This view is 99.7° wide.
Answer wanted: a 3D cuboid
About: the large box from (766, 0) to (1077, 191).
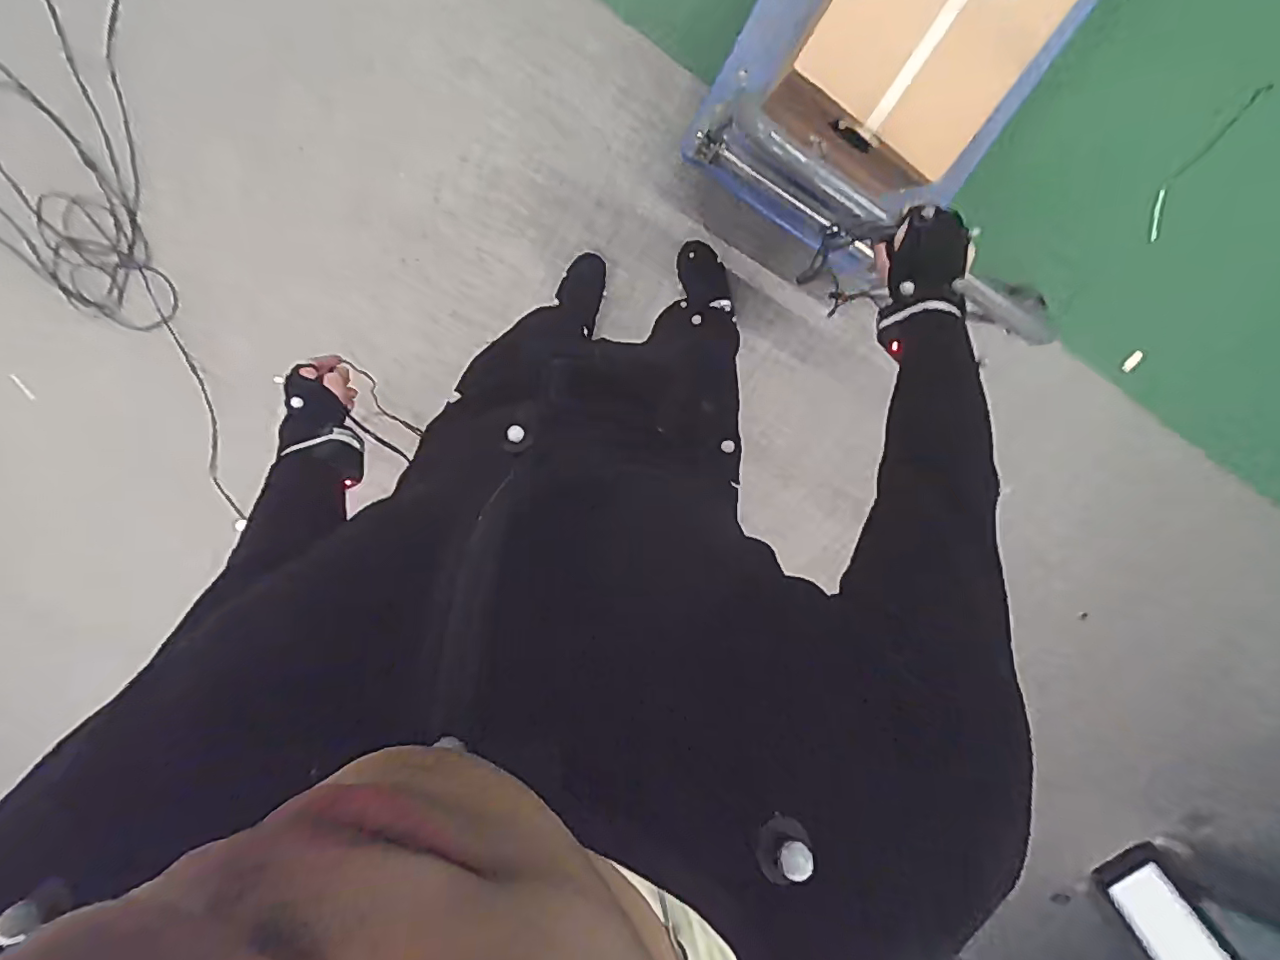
[{"bbox_3d":[0.480,-0.788,0.938,0.320,0.320,0.408,30,112,-13],"label":"large box"}]
